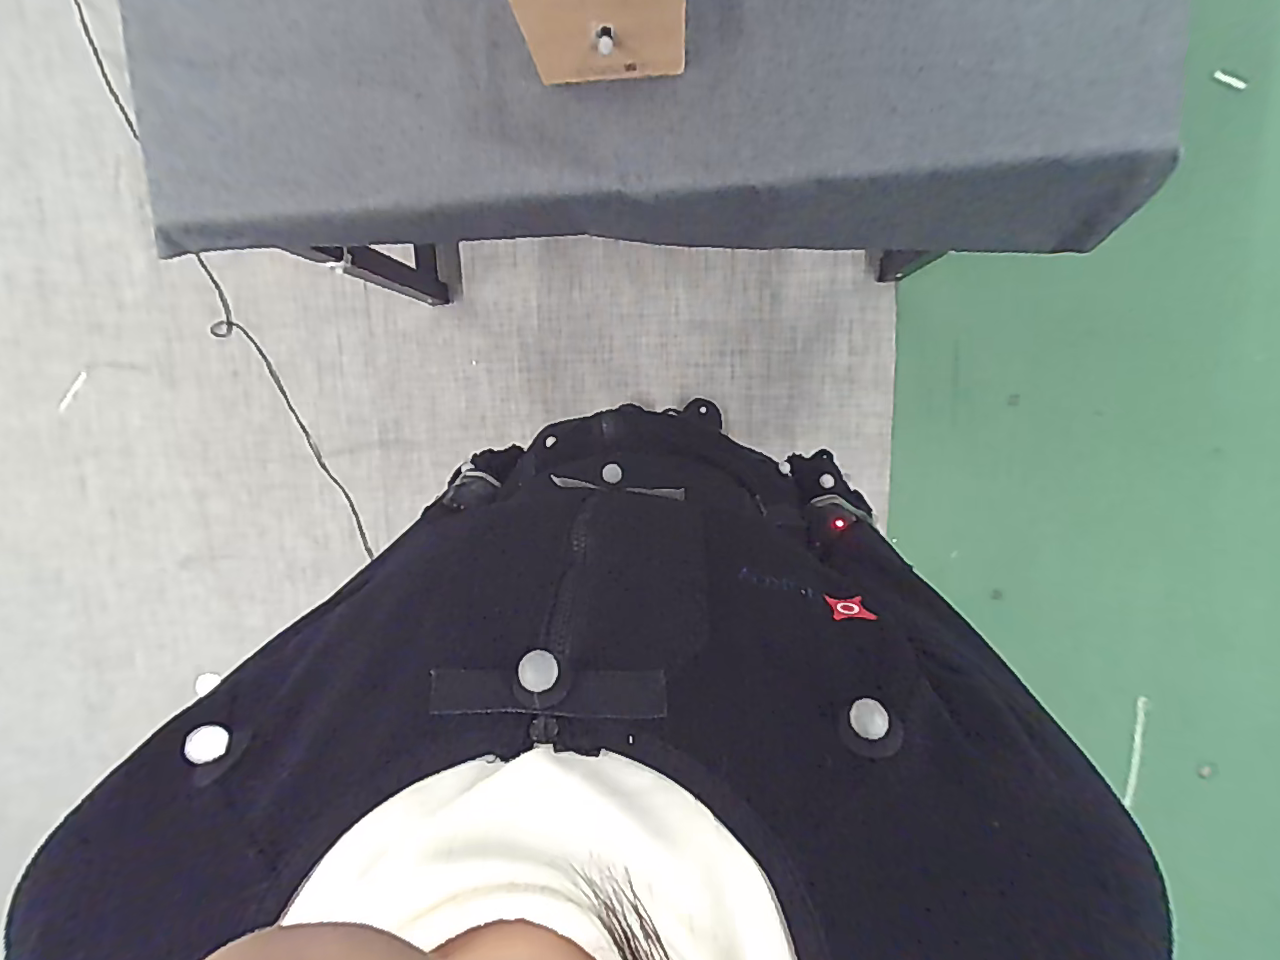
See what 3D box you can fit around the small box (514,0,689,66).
[{"bbox_3d":[-0.037,-0.543,0.529,0.168,0.176,0.179,-2,99,6],"label":"small box"}]
